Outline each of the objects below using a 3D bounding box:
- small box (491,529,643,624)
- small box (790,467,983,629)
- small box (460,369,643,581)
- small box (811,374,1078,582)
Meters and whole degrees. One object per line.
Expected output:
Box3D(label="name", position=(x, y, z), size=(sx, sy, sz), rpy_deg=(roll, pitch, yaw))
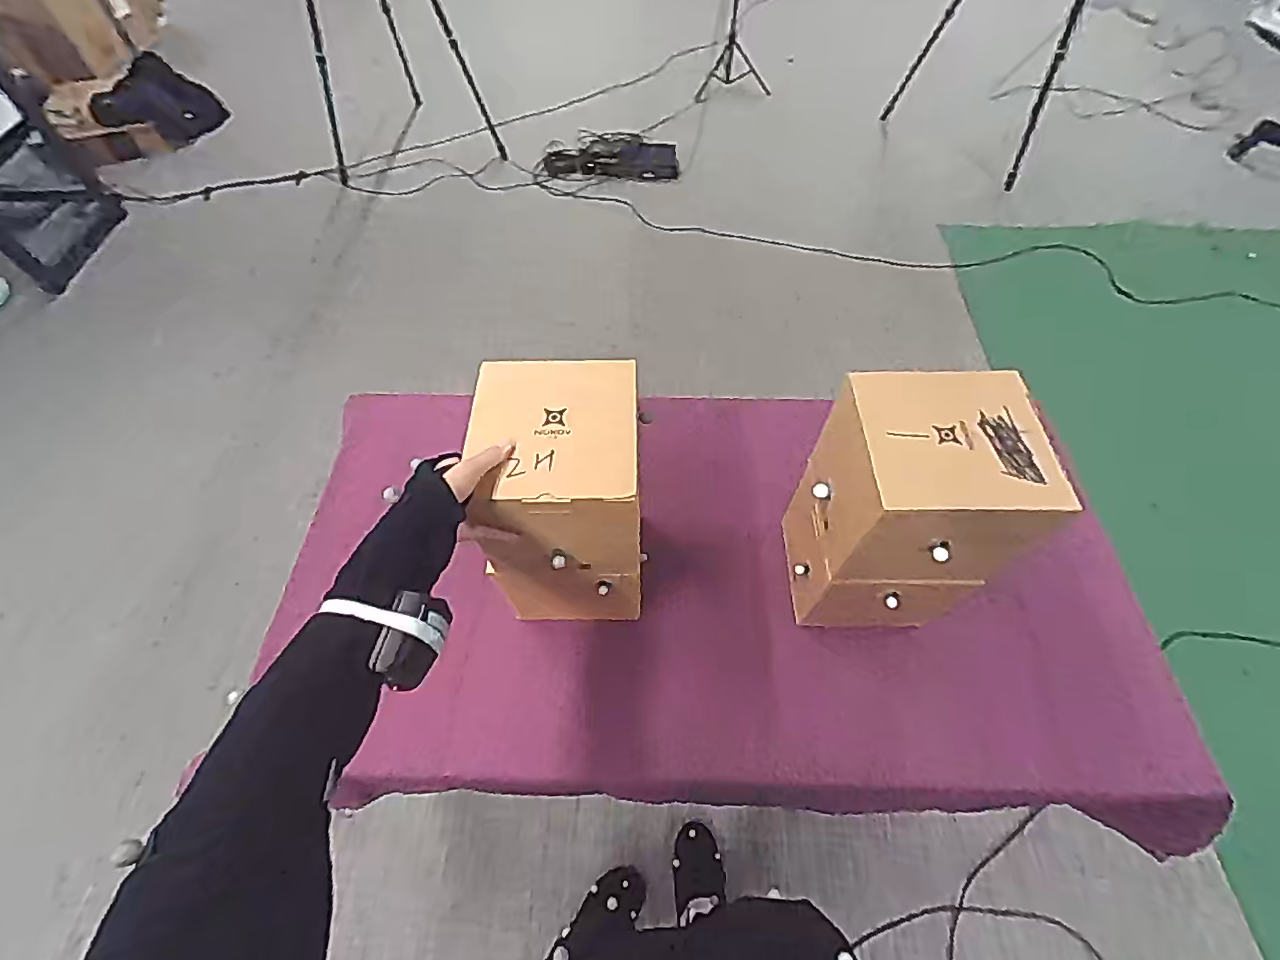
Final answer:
Box3D(label="small box", position=(-0.086, 0.091, 0.735), size=(0.179, 0.176, 0.168), rpy_deg=(-1, 57, 0))
Box3D(label="small box", position=(0.306, 0.094, 0.721), size=(0.179, 0.176, 0.168), rpy_deg=(0, 58, 1))
Box3D(label="small box", position=(-0.082, -0.002, 0.599), size=(0.168, 0.176, 0.179), rpy_deg=(-1, 57, 1))
Box3D(label="small box", position=(0.302, 0.004, 0.584), size=(0.179, 0.176, 0.168), rpy_deg=(-1, 58, 2))
